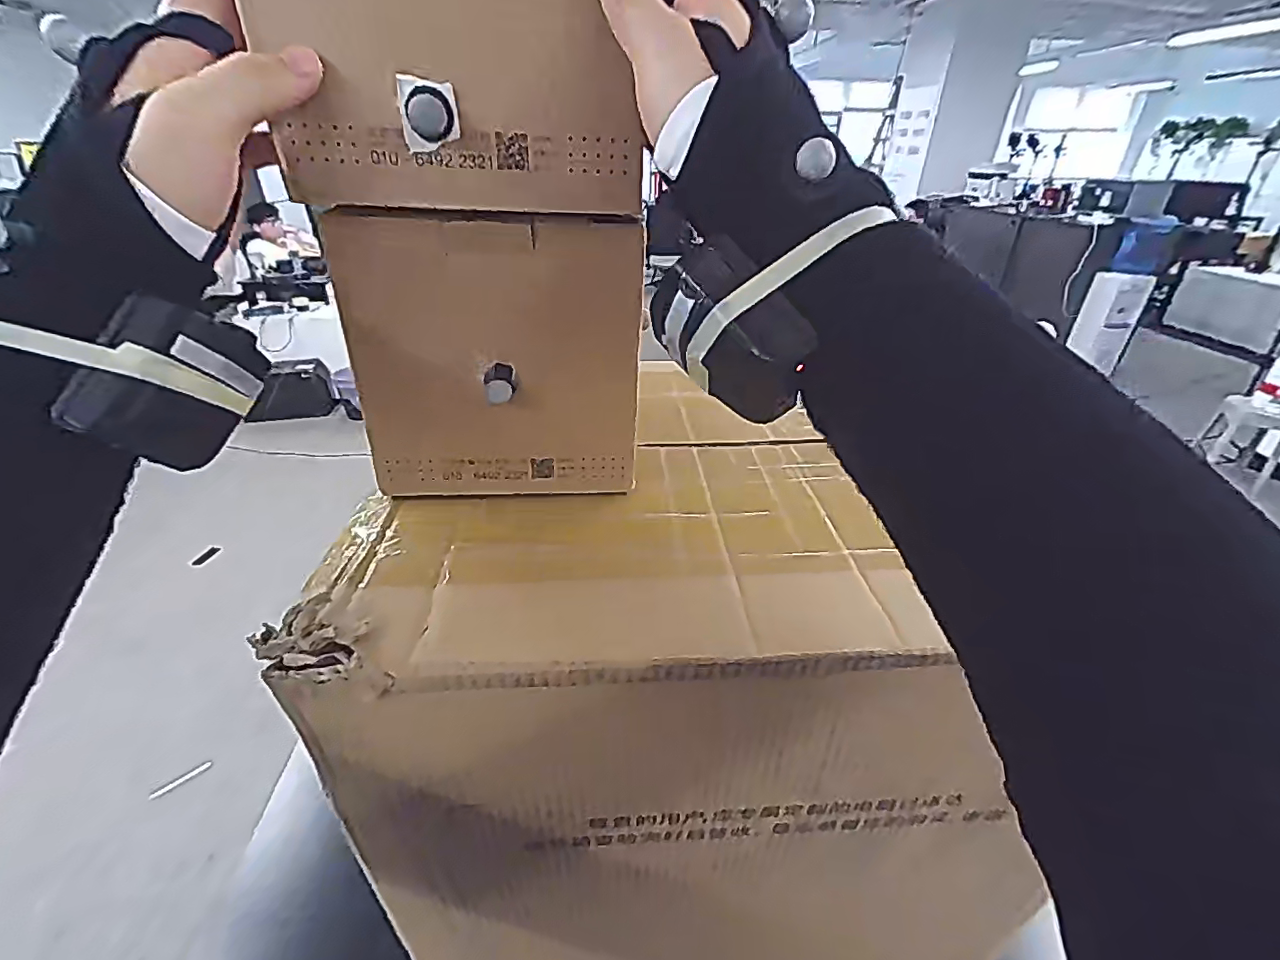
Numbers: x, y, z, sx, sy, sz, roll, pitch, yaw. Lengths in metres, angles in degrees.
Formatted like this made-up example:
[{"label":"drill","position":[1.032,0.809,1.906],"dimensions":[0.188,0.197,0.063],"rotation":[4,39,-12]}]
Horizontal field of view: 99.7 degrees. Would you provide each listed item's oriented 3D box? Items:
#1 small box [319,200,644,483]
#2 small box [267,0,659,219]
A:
[{"label":"small box","position":[-0.086,-0.107,0.381],"dimensions":[0.168,0.176,0.179],"rotation":[-1,31,-6]},{"label":"small box","position":[-0.082,-0.241,0.288],"dimensions":[0.168,0.176,0.179],"rotation":[-3,31,-6]}]
